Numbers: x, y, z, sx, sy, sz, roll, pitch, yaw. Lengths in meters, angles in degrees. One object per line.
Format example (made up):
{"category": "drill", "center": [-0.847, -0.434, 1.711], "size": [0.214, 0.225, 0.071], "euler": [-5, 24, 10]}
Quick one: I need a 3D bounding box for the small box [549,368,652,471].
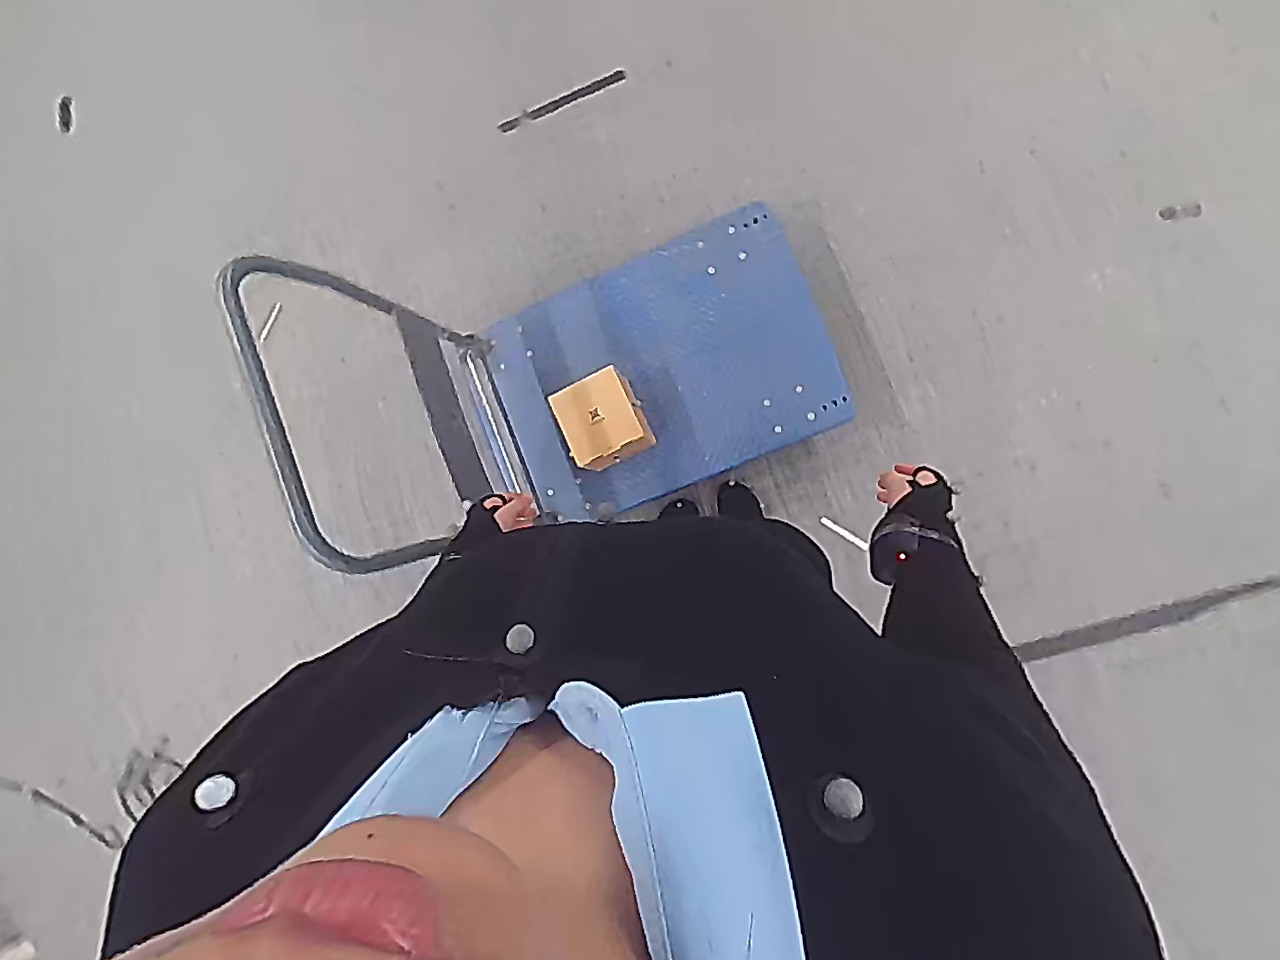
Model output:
{"category": "small box", "center": [-0.086, -0.132, 1.262], "size": [0.168, 0.176, 0.179], "euler": [-26, 85, 8]}
